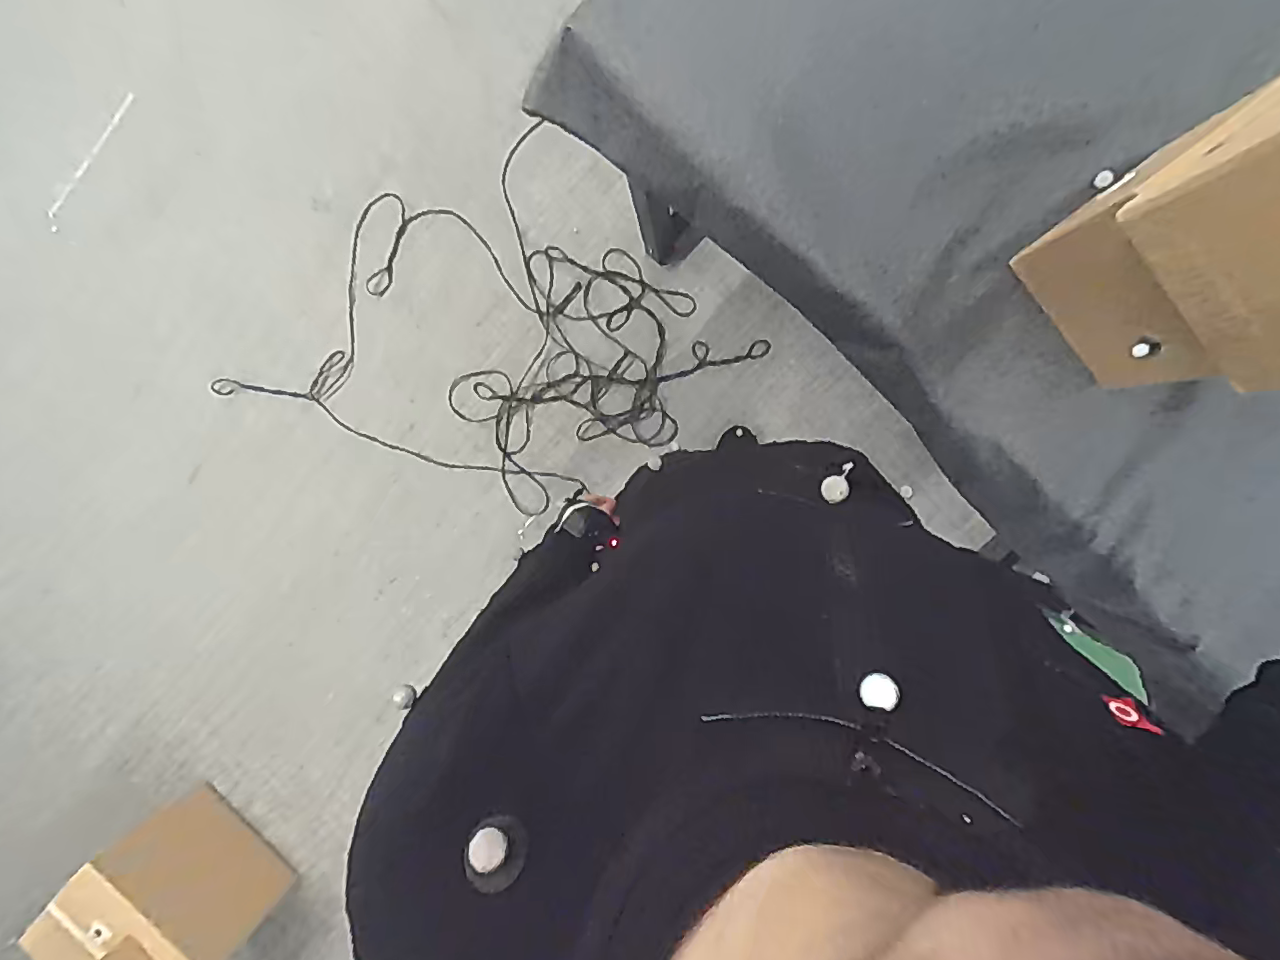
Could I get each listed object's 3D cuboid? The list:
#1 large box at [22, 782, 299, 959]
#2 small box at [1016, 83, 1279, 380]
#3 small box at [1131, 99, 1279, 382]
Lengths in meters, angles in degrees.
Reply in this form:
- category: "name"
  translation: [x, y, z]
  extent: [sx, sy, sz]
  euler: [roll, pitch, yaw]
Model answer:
- category: "large box"
  translation: [-1.228, 1.118, 1.424]
  extent: [0.408, 0.320, 0.320]
  euler: [44, 96, 2]
- category: "small box"
  translation: [0.503, -0.206, 0.488]
  extent: [0.168, 0.176, 0.179]
  euler: [-38, 89, 6]
- category: "small box"
  translation: [0.474, -0.178, 0.329]
  extent: [0.168, 0.176, 0.179]
  euler: [-36, 91, 6]
